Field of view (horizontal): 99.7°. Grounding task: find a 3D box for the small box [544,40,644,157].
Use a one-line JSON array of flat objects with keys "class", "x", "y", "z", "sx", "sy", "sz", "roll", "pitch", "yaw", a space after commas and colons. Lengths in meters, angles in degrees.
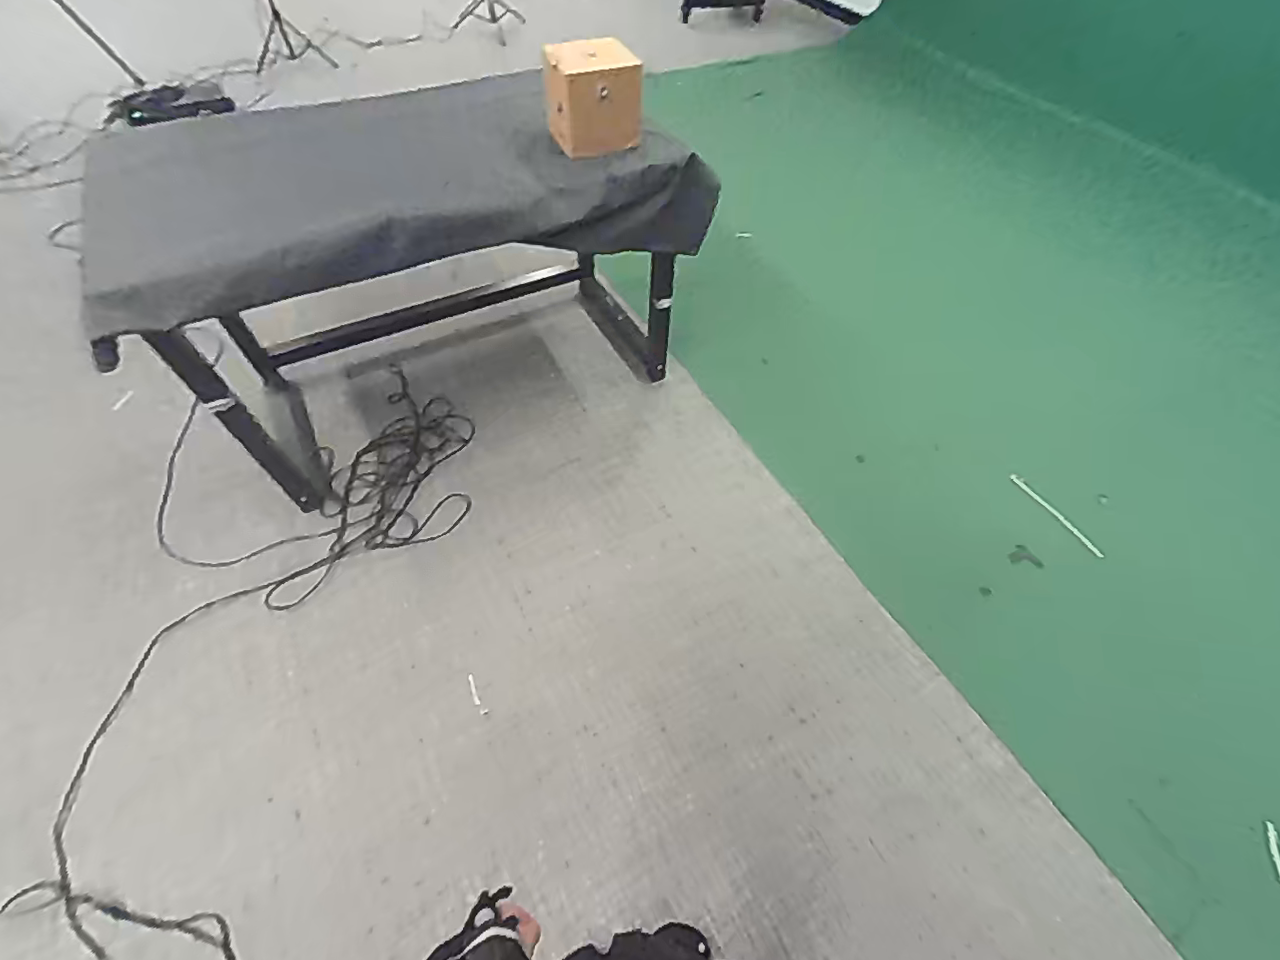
[{"class": "small box", "x": -0.103, "y": -0.858, "z": 1.223, "sx": 0.179, "sy": 0.176, "sz": 0.168, "roll": -19, "pitch": 59, "yaw": -15}]
